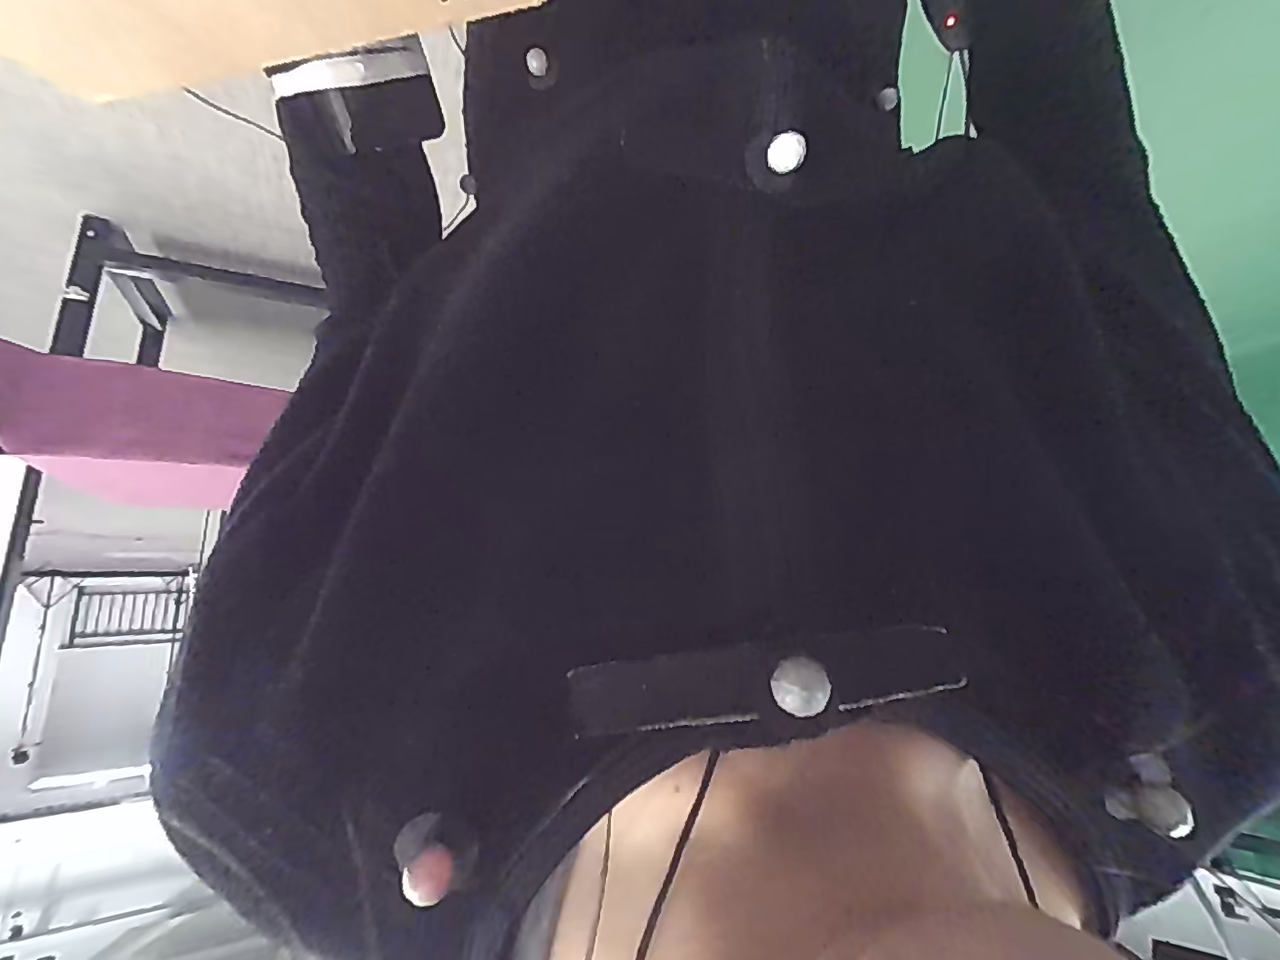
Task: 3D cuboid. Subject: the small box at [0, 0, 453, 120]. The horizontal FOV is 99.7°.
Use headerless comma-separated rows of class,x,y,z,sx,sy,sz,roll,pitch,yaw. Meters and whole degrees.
small box,-0.127,-0.207,0.089,0.176,0.179,0.168,2,-179,15
